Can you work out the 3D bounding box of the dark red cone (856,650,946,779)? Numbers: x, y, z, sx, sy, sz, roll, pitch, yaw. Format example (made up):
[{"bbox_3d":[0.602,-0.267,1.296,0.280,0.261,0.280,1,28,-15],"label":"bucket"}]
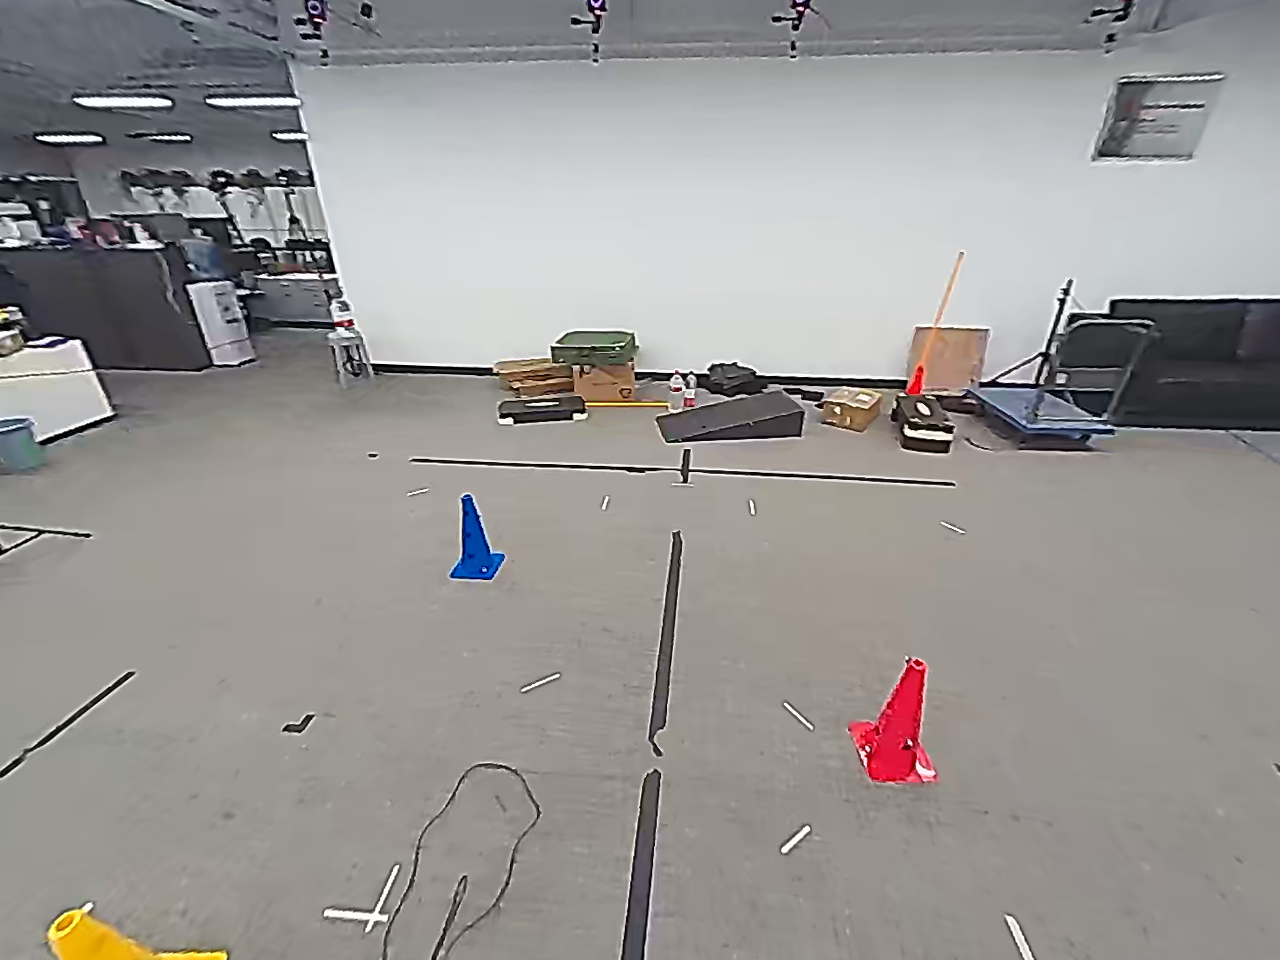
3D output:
[{"bbox_3d":[0.755,0.633,1.509,0.201,0.394,0.202,-1,26,0],"label":"dark red cone"}]

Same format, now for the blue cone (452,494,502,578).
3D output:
[{"bbox_3d":[-0.734,0.236,2.360,0.192,0.380,0.193,3,26,7],"label":"blue cone"}]
